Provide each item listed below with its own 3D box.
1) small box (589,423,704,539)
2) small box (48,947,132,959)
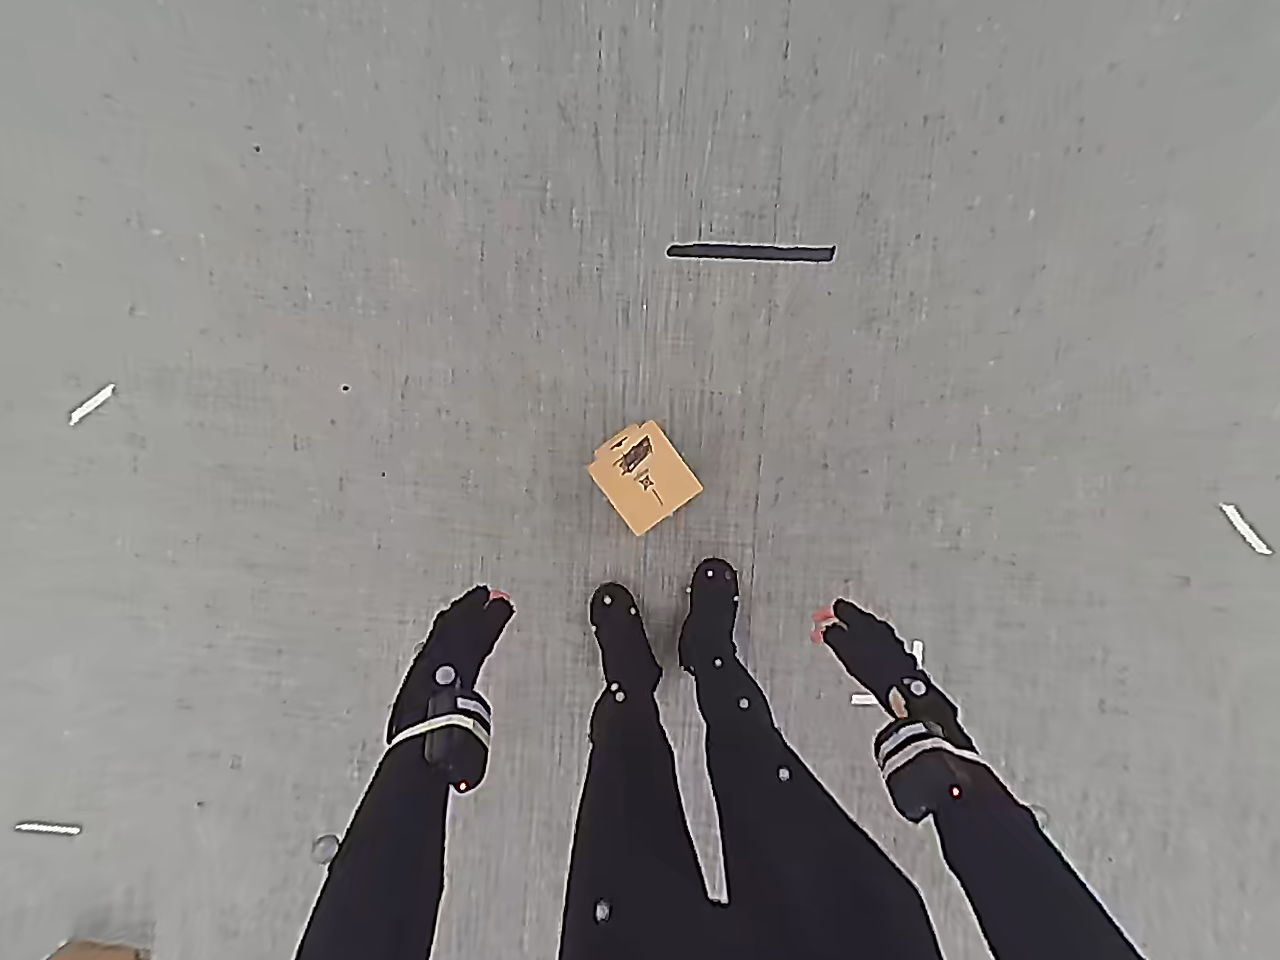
[{"bbox_3d":[0.012,0.000,1.137,0.168,0.176,0.179,-36,92,3],"label":"small box"},{"bbox_3d":[-1.303,1.198,1.209,0.179,0.176,0.168,4,93,0],"label":"small box"}]
